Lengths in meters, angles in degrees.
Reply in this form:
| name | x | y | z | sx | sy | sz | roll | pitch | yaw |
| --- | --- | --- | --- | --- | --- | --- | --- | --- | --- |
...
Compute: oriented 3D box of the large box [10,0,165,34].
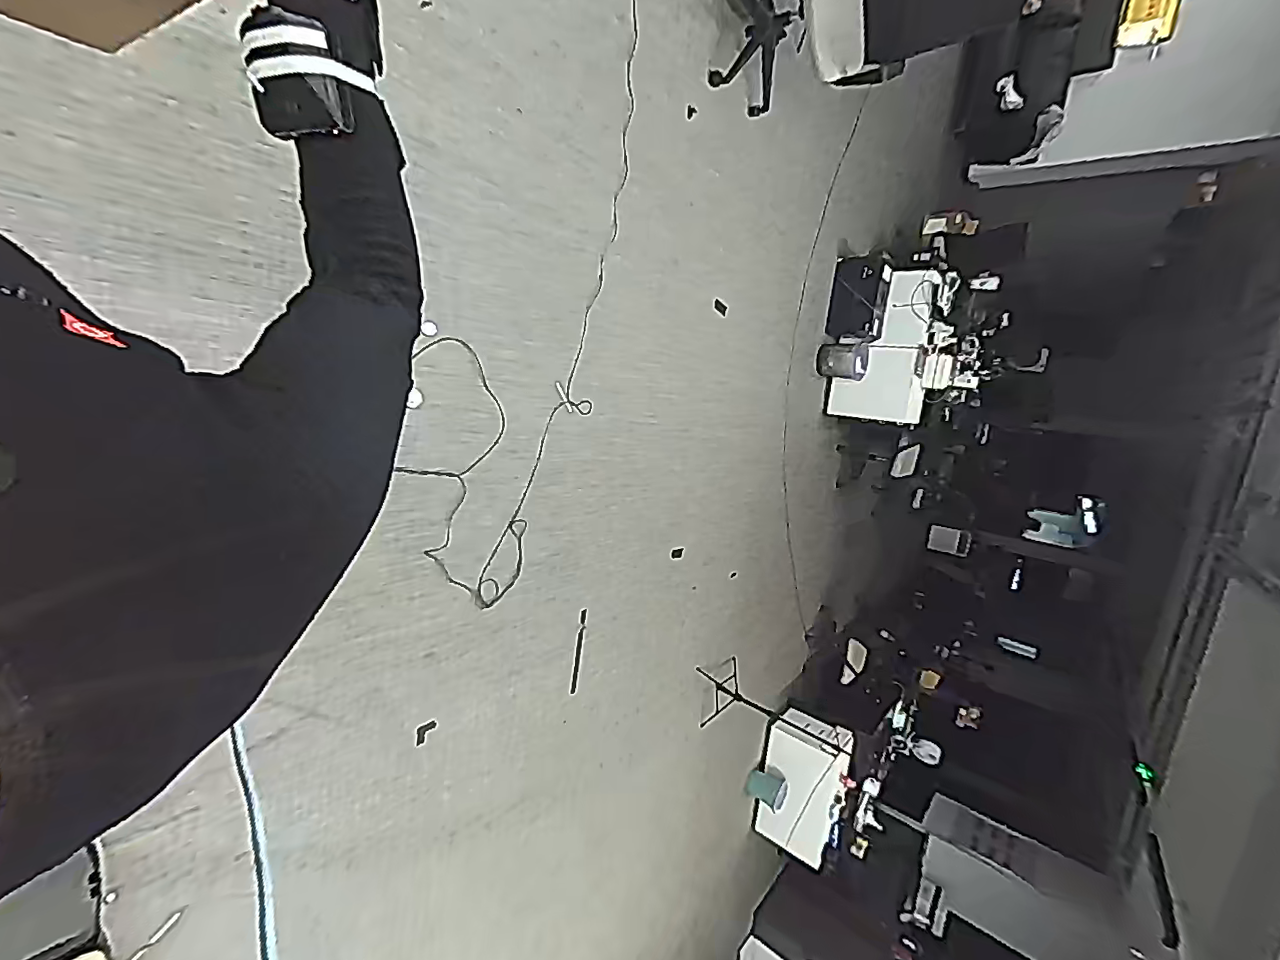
| name | x | y | z | sx | sy | sz | roll | pitch | yaw |
| --- | --- | --- | --- | --- | --- | --- | --- | --- | --- |
| large box | -0.469 | -0.483 | 0.224 | 0.408 | 0.320 | 0.320 | -13 | 118 | -53 |
